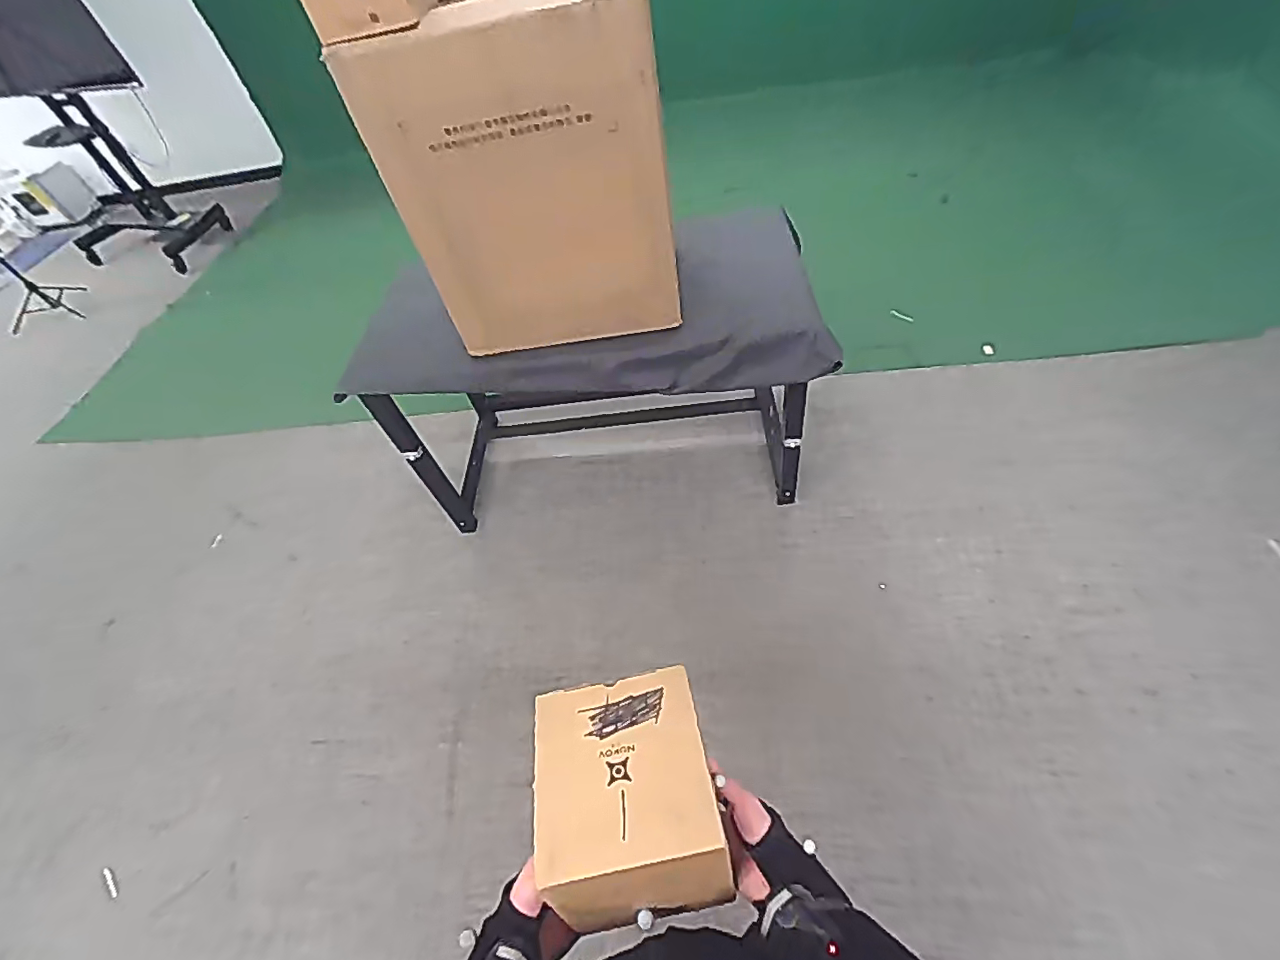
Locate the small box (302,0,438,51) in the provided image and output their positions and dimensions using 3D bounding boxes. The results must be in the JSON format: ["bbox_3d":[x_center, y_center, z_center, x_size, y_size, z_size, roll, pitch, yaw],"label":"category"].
[{"bbox_3d":[-0.452,-0.825,0.875,0.168,0.176,0.179,-6,51,7],"label":"small box"}]
